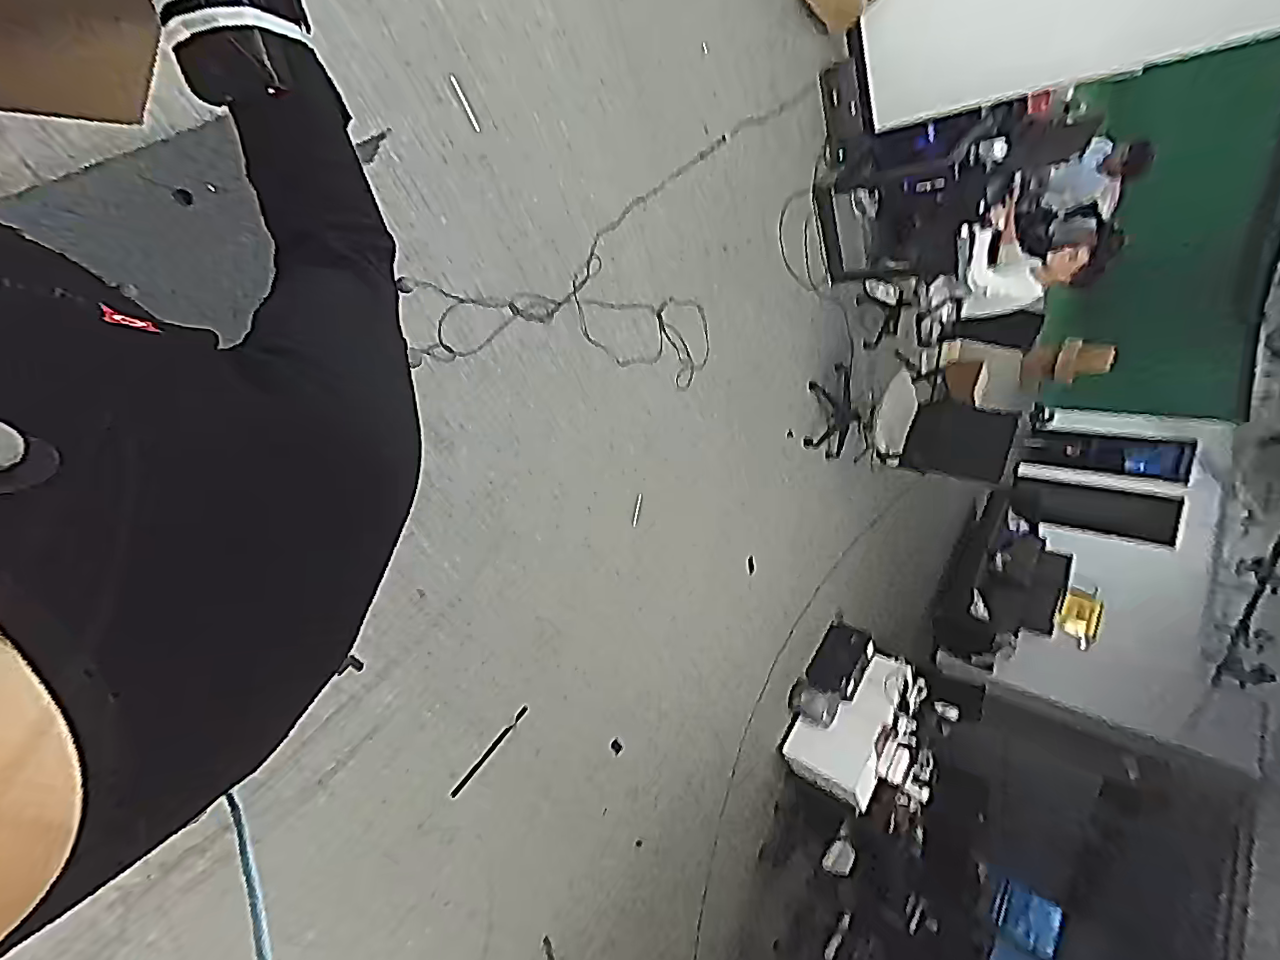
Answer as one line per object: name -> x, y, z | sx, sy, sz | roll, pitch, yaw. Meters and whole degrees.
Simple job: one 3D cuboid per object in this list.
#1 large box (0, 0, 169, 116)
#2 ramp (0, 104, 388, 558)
large box -> -0.527, -0.421, 0.246 | 0.408, 0.320, 0.320 | -23, 112, -43
ramp -> -1.040, -0.371, 1.136 | 0.991, 0.206, 0.509 | -51, 130, -25
